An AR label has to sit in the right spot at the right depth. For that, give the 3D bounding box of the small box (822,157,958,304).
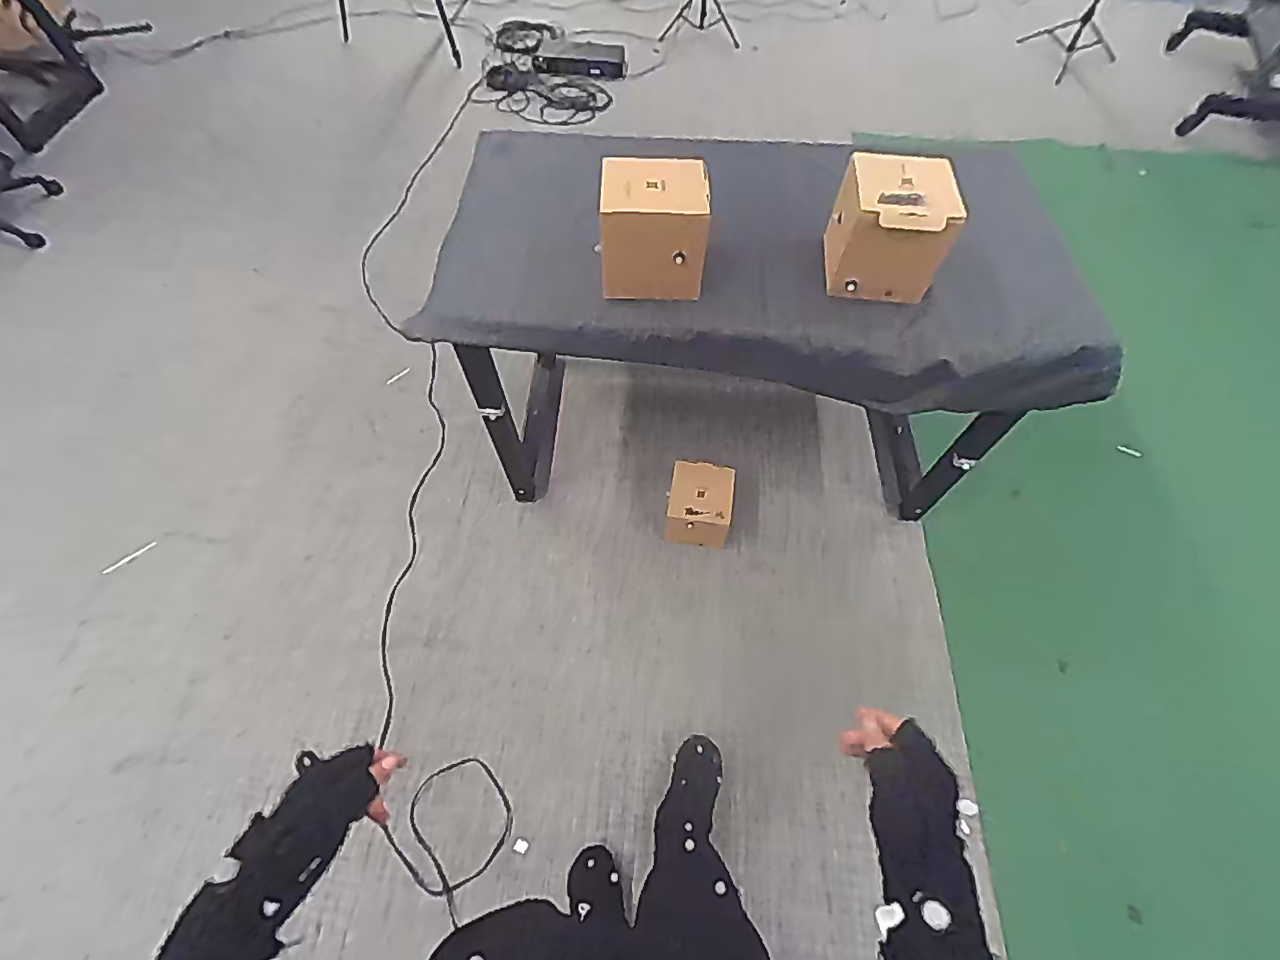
[{"bbox_3d":[0.430,-0.438,0.961,0.168,0.176,0.179,7,59,4],"label":"small box"}]

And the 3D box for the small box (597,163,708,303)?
[{"bbox_3d":[0.019,-0.430,0.955,0.179,0.176,0.168,-1,57,0],"label":"small box"}]
